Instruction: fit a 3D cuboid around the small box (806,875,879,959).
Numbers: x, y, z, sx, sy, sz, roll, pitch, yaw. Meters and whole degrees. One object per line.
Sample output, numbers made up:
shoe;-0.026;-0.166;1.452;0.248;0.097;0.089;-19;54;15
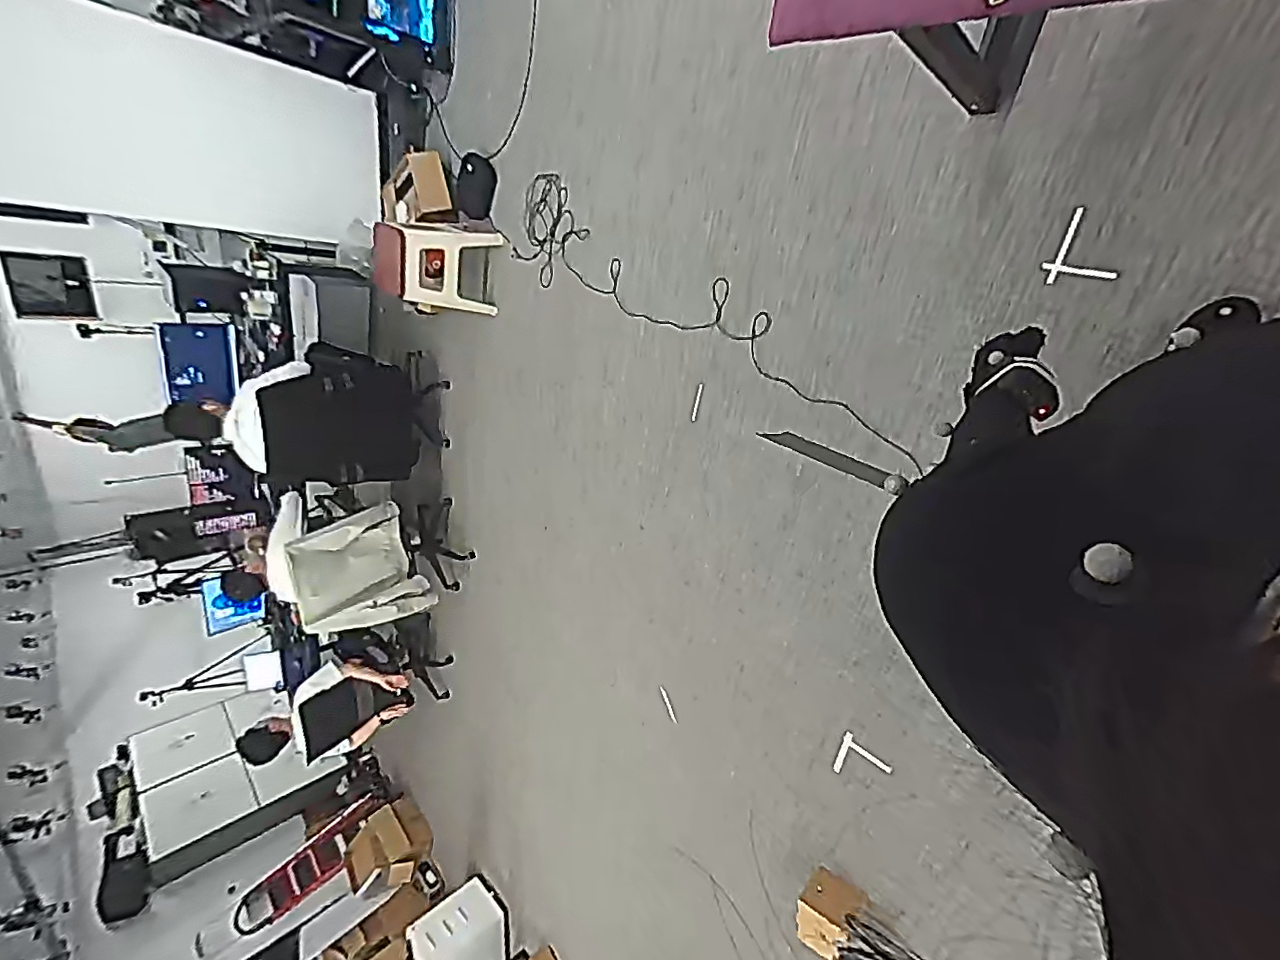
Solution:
small box;0.675;1.478;1.807;0.179;0.176;0.168;7;105;44
